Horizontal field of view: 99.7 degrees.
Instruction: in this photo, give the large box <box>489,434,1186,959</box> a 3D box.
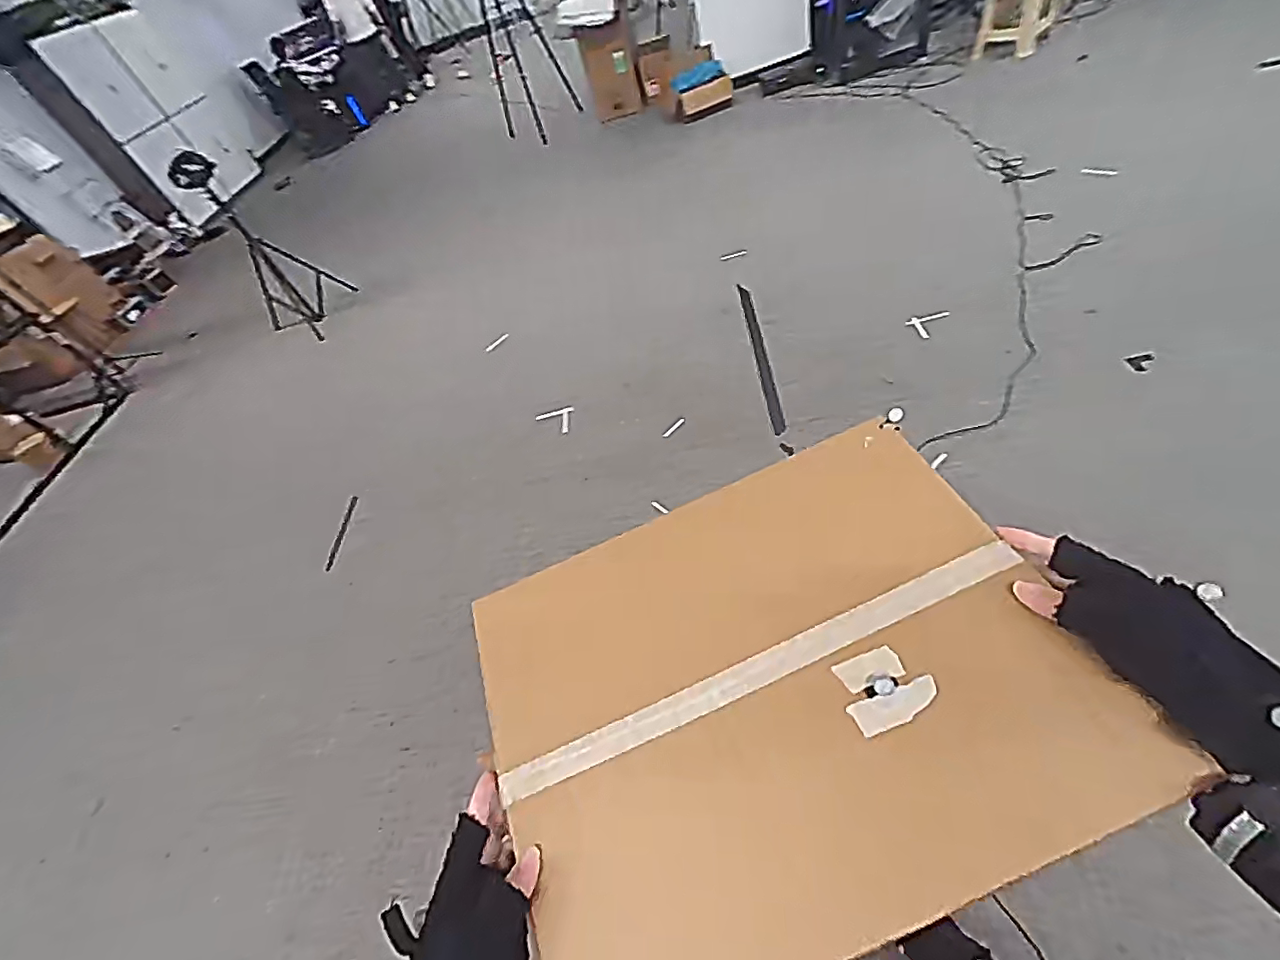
[{"bbox_3d":[0.126,0.231,0.518,0.408,0.320,0.320,-24,53,-2],"label":"large box"}]
